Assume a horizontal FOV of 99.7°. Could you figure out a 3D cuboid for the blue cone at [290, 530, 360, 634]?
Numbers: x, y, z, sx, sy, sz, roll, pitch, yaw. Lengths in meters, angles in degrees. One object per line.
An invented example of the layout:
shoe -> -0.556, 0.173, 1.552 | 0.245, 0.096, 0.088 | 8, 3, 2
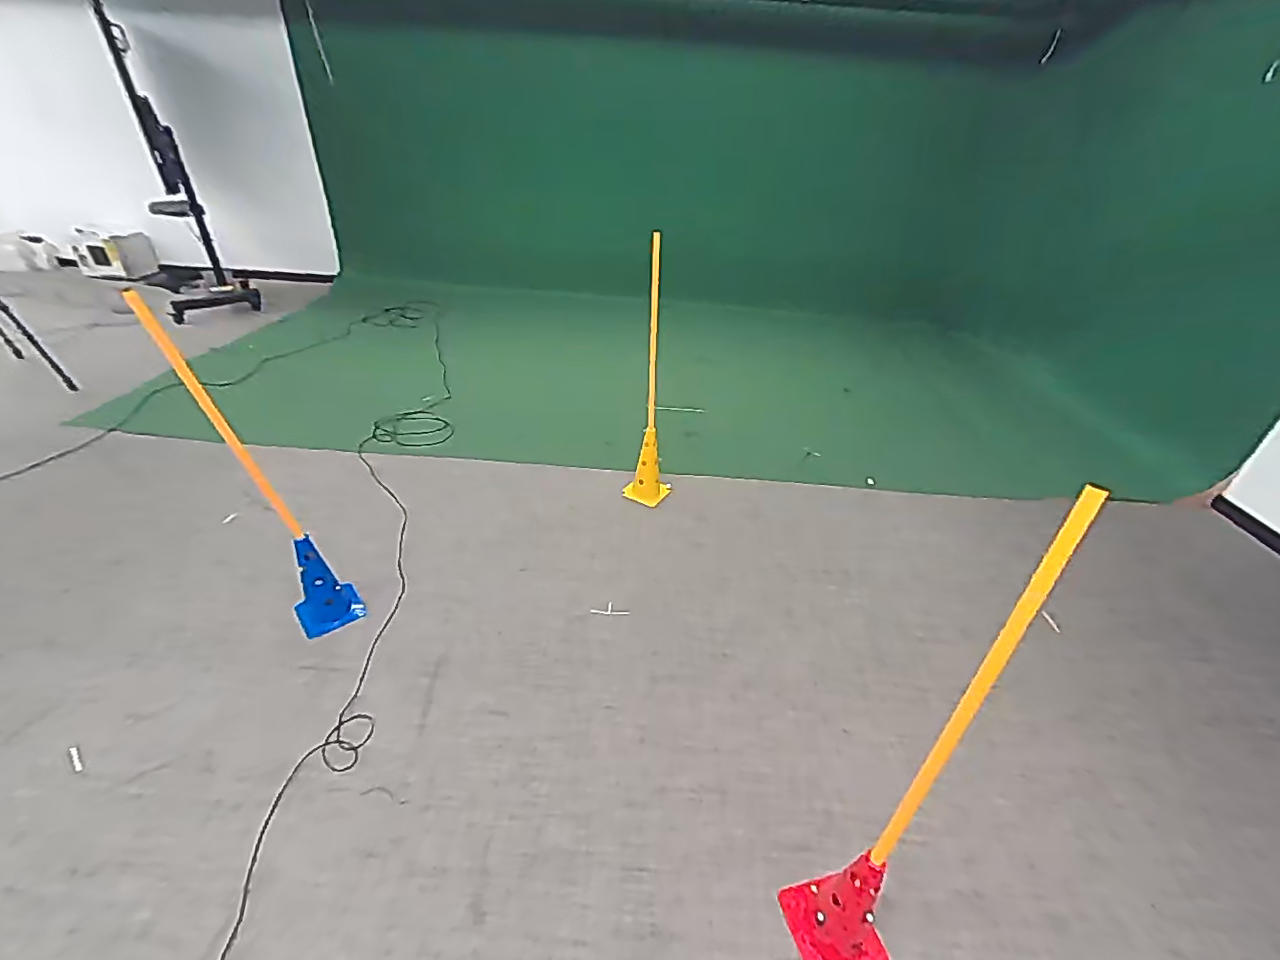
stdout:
blue cone -> -1.123, 0.330, 1.860 | 0.193, 0.380, 0.192 | -26, 45, -35
